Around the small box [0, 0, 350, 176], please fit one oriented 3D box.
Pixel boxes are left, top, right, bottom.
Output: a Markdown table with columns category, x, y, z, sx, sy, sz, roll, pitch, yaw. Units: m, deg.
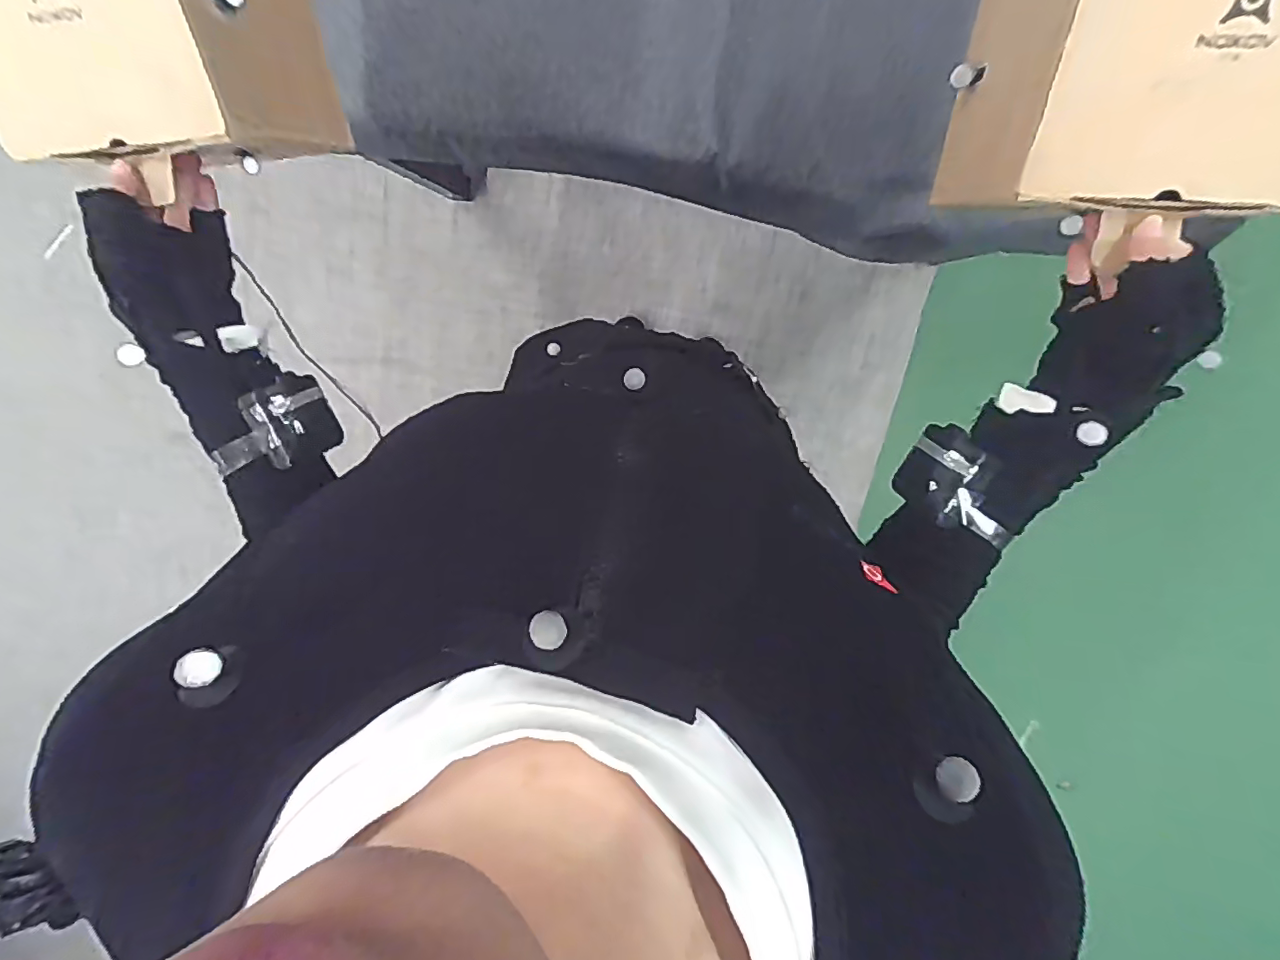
| category | x | y | z | sx | sy | sz | roll | pitch | yaw |
| --- | --- | --- | --- | --- | --- | --- | --- | --- | --- |
| small box | -0.351 | -0.329 | 0.396 | 0.168 | 0.176 | 0.179 | -4 | 117 | 5 |
